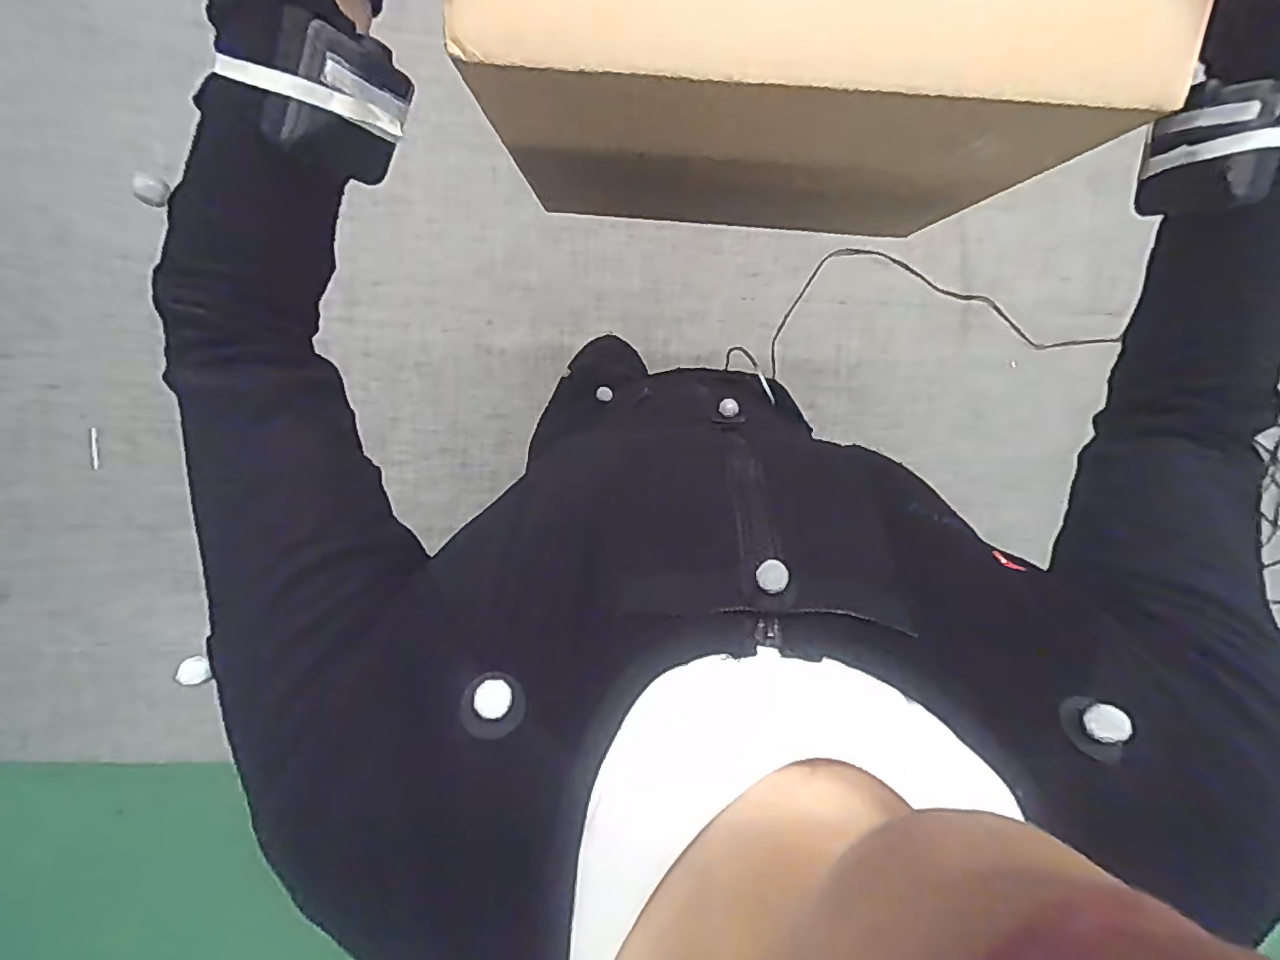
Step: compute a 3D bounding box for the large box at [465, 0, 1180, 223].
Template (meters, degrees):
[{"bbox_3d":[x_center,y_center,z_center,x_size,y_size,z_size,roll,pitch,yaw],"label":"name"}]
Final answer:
[{"bbox_3d":[0.103,-0.407,0.420,0.408,0.320,0.320,3,103,-1],"label":"large box"}]
